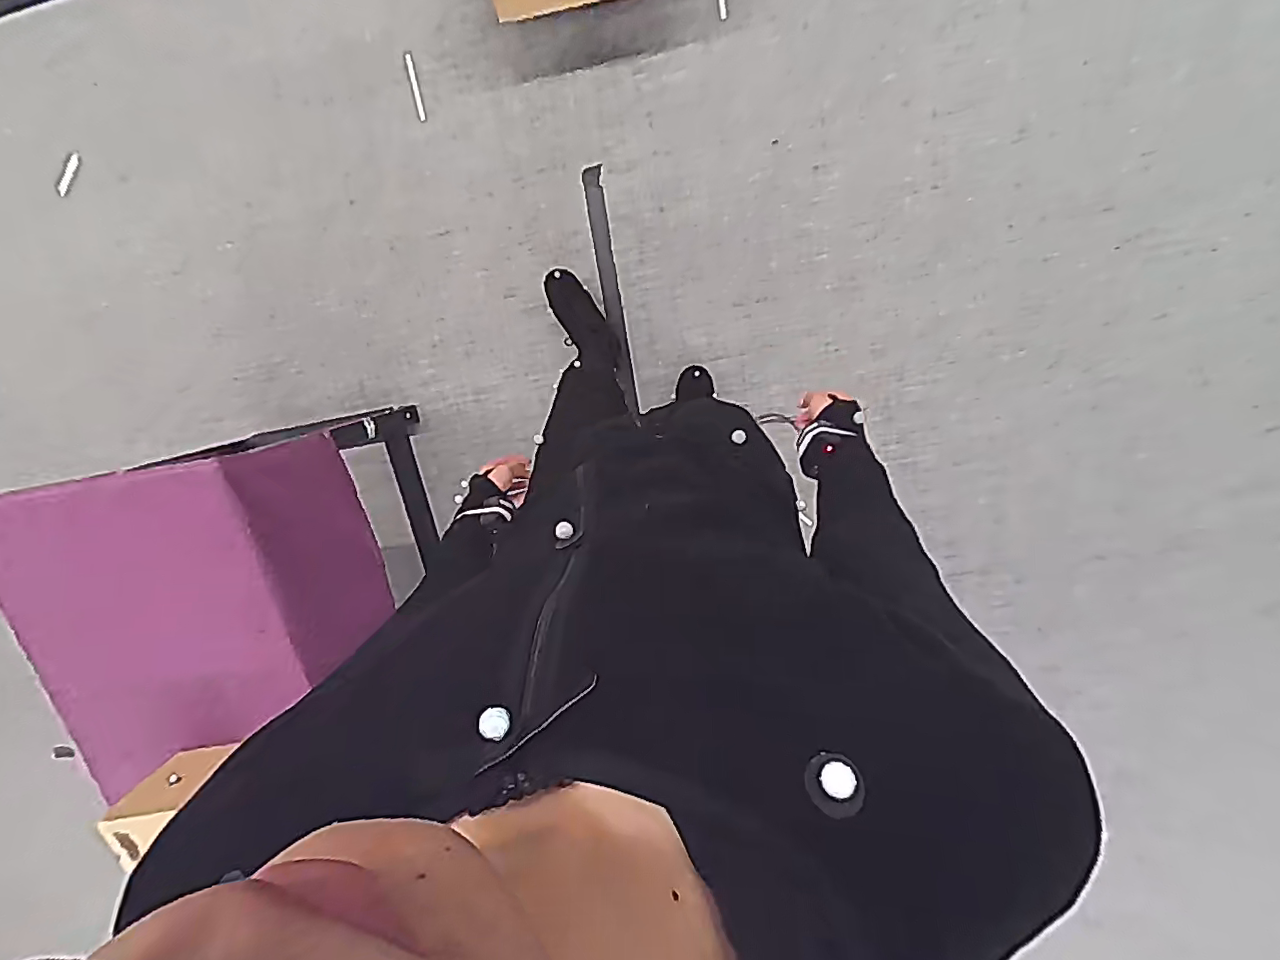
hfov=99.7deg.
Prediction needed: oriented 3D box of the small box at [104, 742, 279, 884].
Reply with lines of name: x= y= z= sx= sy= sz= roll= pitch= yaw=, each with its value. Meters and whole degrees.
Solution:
small box: x=-0.878 y=0.656 z=1.077 sx=0.179 sy=0.176 sz=0.168 roll=-12 pitch=105 yaw=8
